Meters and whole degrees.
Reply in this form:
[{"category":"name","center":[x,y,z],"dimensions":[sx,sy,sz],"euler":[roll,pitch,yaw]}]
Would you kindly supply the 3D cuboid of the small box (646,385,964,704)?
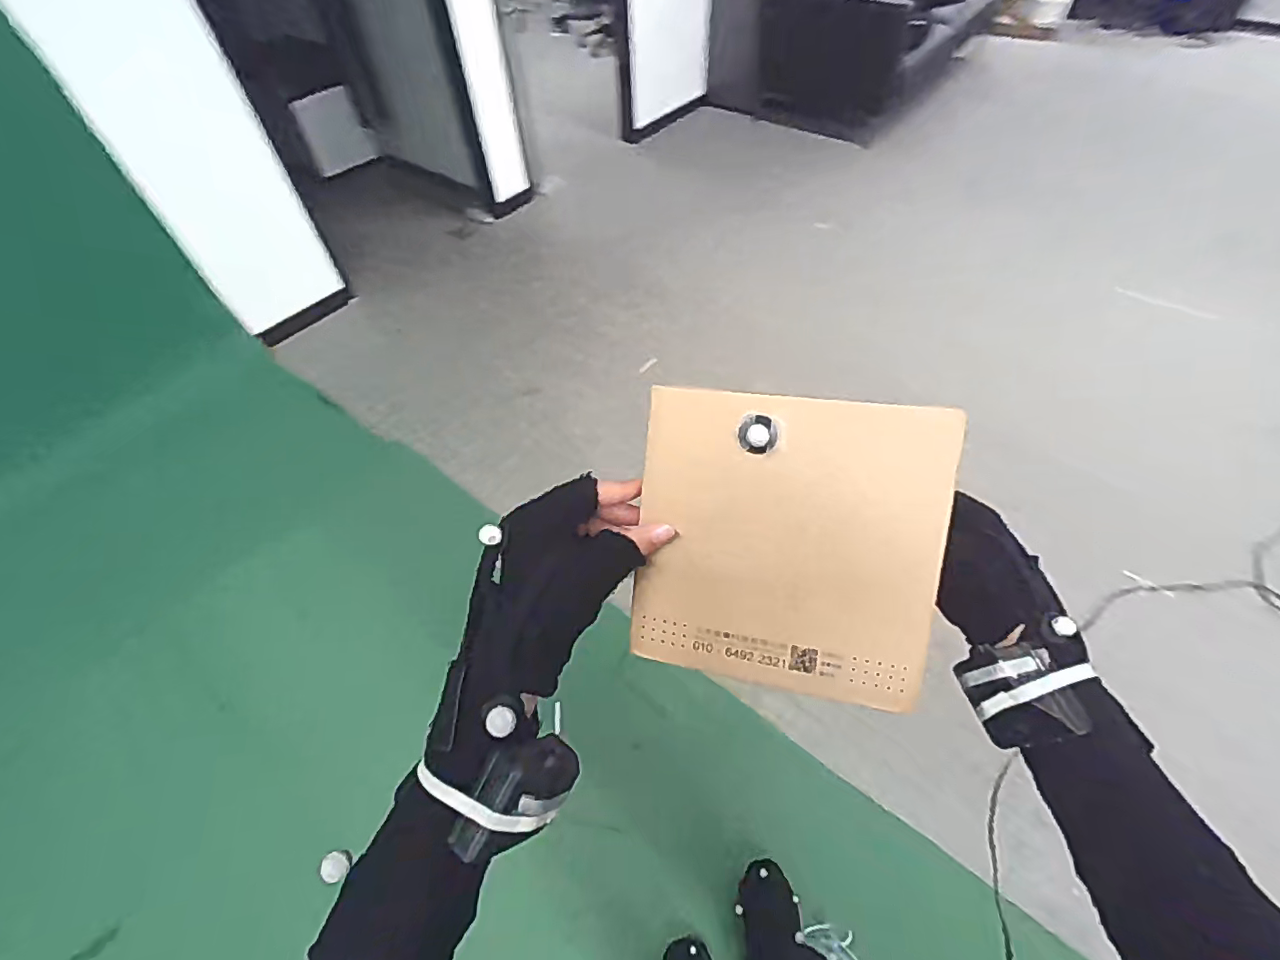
[{"category":"small box","center":[0.108,0.028,0.390],"dimensions":[0.168,0.176,0.179],"euler":[7,9,17]}]
